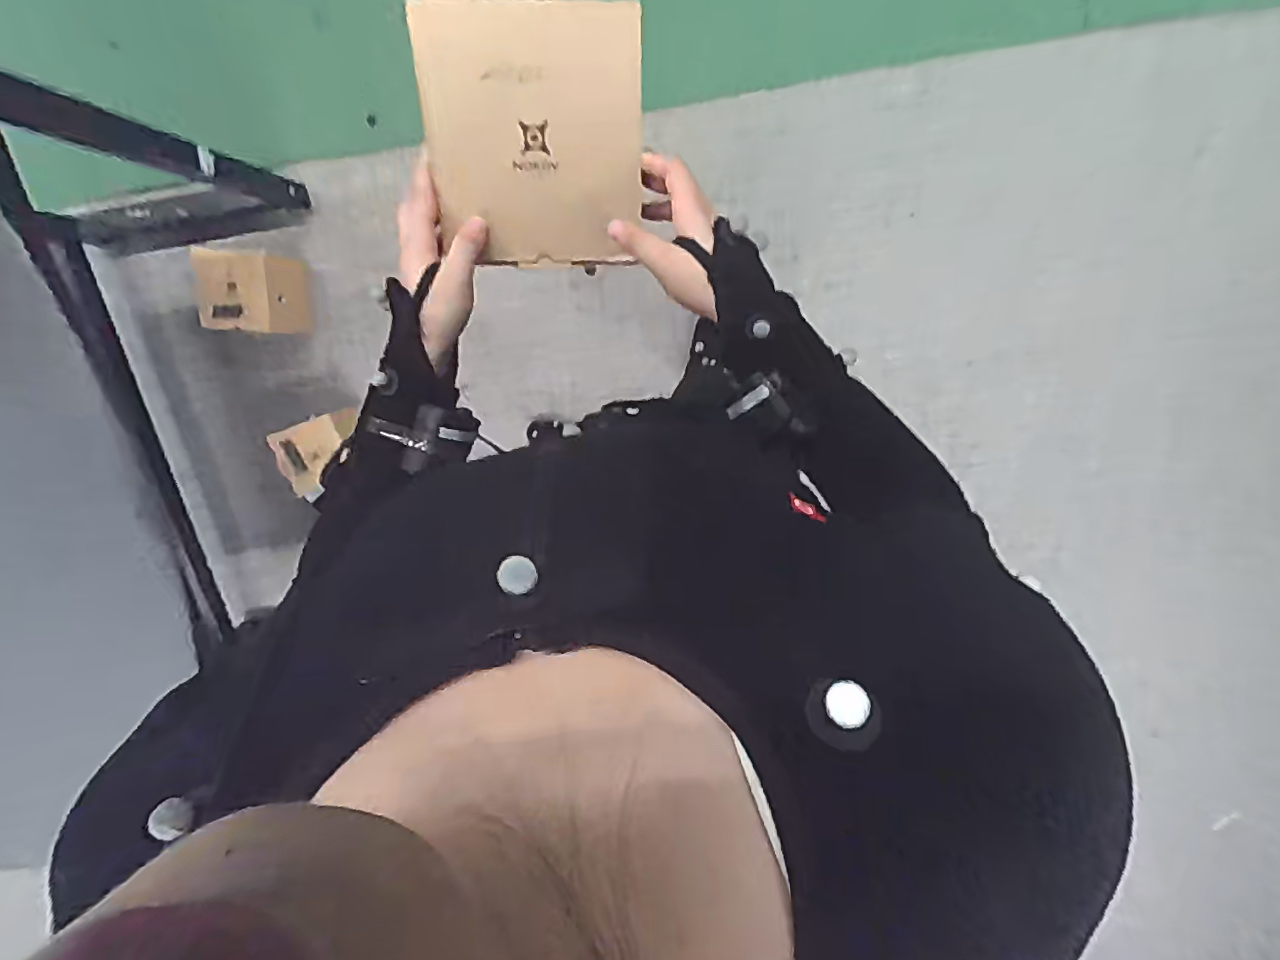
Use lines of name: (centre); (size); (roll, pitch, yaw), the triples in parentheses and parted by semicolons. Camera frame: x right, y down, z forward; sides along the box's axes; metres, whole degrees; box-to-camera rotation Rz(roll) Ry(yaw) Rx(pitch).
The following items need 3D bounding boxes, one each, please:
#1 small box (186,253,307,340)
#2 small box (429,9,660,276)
small box: (-0.927, -0.432, 1.292); (0.168, 0.176, 0.179); (5, 105, -1)
small box: (-0.073, -0.286, 0.490); (0.168, 0.176, 0.179); (-2, 116, -4)
